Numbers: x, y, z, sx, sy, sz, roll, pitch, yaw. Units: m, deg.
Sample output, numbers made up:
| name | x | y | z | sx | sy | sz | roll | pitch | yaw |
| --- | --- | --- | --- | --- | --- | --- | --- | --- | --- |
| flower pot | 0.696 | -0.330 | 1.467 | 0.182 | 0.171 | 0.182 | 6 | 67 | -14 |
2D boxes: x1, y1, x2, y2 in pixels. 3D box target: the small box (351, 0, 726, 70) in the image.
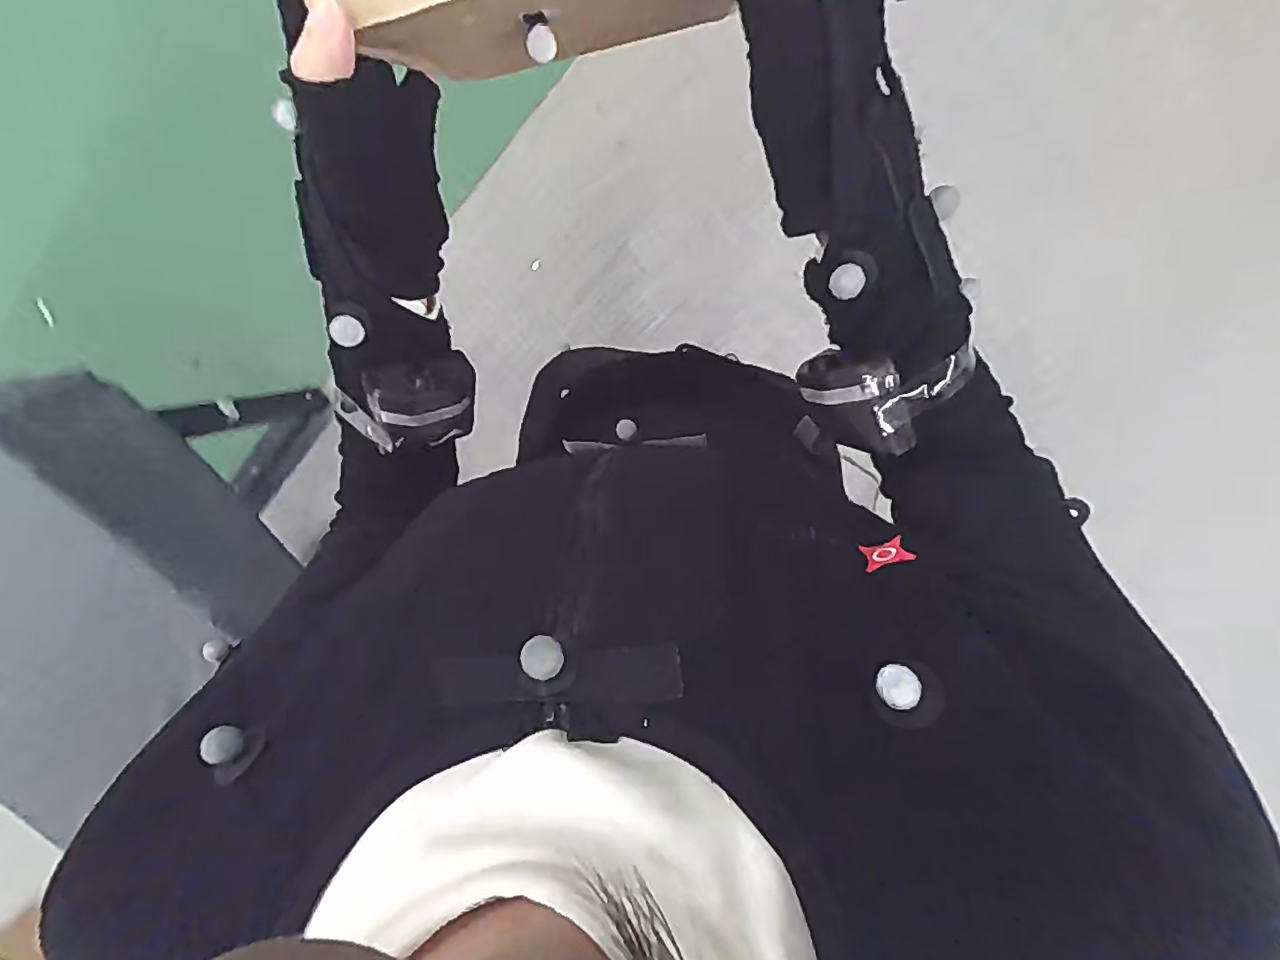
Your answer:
| name | x | y | z | sx | sy | sz | roll | pitch | yaw |
| --- | --- | --- | --- | --- | --- | --- | --- | --- | --- |
| small box | -0.038 | -0.298 | 0.221 | 0.179 | 0.176 | 0.168 | -10 | 119 | 8 |
